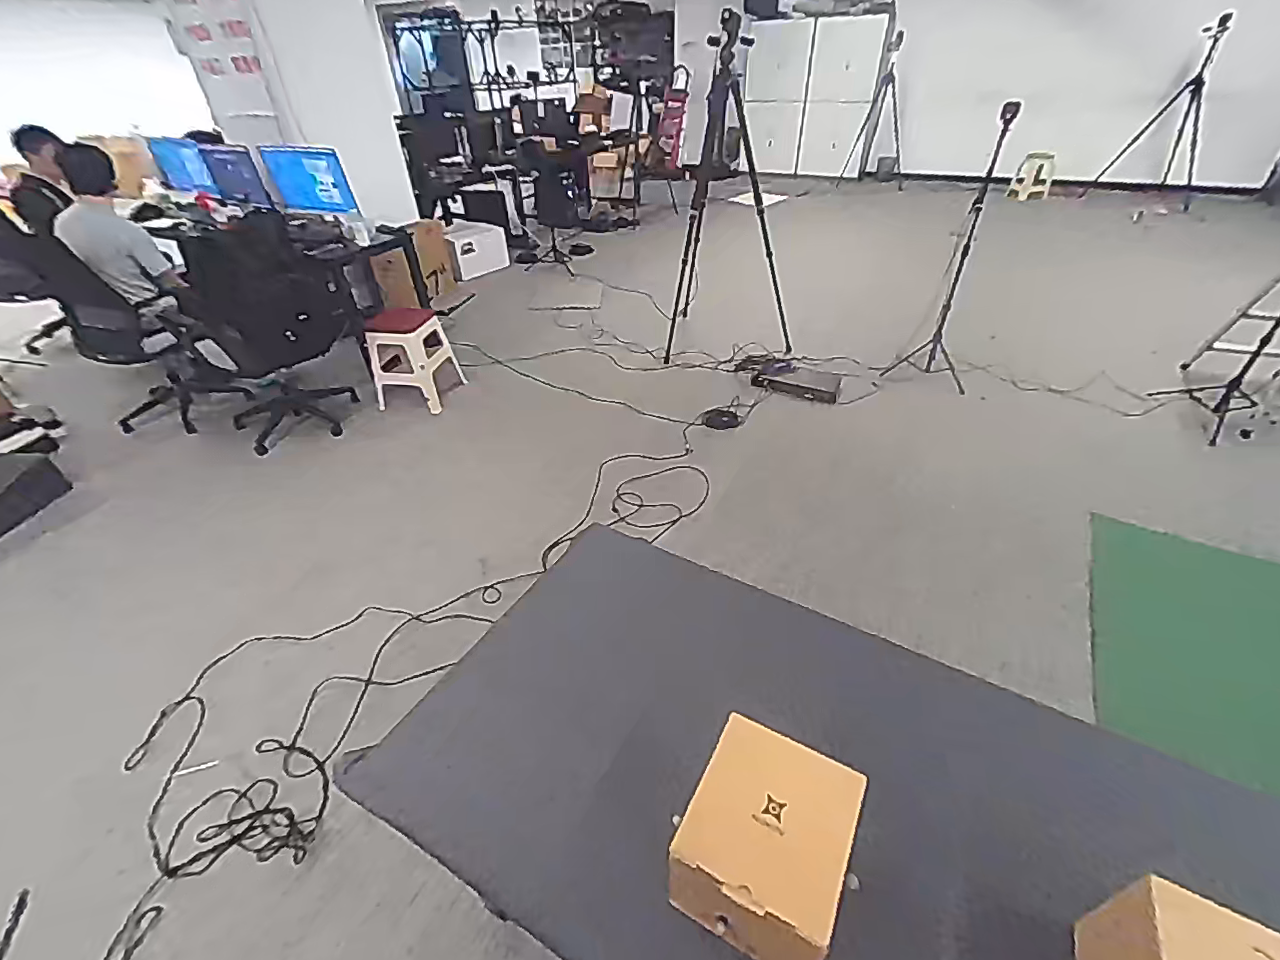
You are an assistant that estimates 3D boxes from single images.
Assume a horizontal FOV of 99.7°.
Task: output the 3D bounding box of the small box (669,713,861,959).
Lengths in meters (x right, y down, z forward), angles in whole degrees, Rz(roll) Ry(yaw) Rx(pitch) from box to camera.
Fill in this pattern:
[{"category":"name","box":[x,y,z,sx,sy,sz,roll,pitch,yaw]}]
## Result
[{"category":"small box","box":[0.140,0.423,0.635,0.168,0.176,0.179,19,43,23]}]
